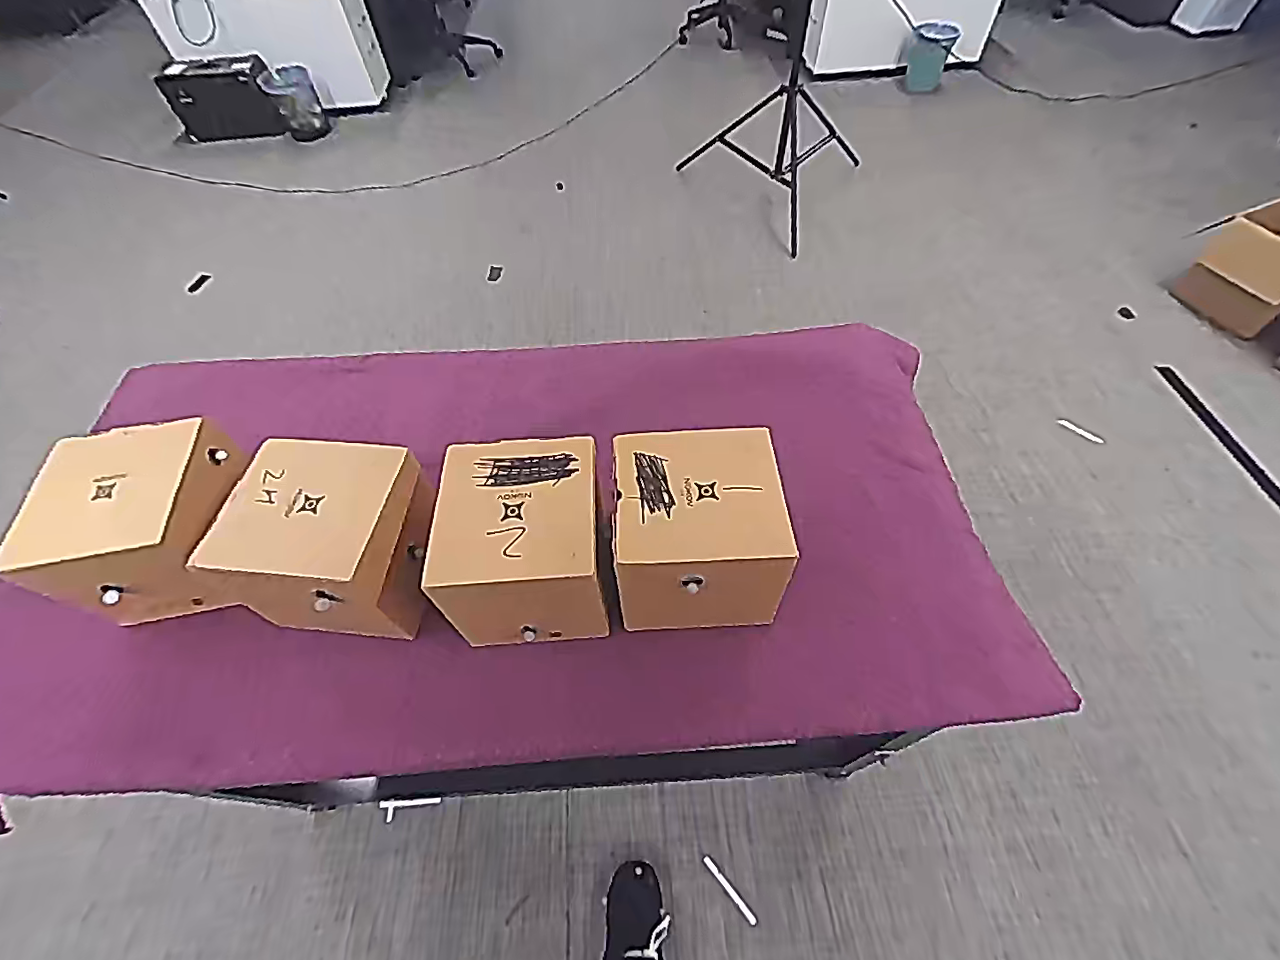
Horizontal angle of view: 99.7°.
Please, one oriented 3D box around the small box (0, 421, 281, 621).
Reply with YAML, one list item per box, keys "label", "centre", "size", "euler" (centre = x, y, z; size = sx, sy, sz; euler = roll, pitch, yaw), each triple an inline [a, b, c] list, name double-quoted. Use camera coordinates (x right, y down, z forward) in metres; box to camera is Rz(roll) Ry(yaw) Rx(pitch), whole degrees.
- label: "small box"
  centre: [-0.578, 0.058, 0.660]
  size: [0.168, 0.176, 0.179]
  euler: [-11, 56, -5]
